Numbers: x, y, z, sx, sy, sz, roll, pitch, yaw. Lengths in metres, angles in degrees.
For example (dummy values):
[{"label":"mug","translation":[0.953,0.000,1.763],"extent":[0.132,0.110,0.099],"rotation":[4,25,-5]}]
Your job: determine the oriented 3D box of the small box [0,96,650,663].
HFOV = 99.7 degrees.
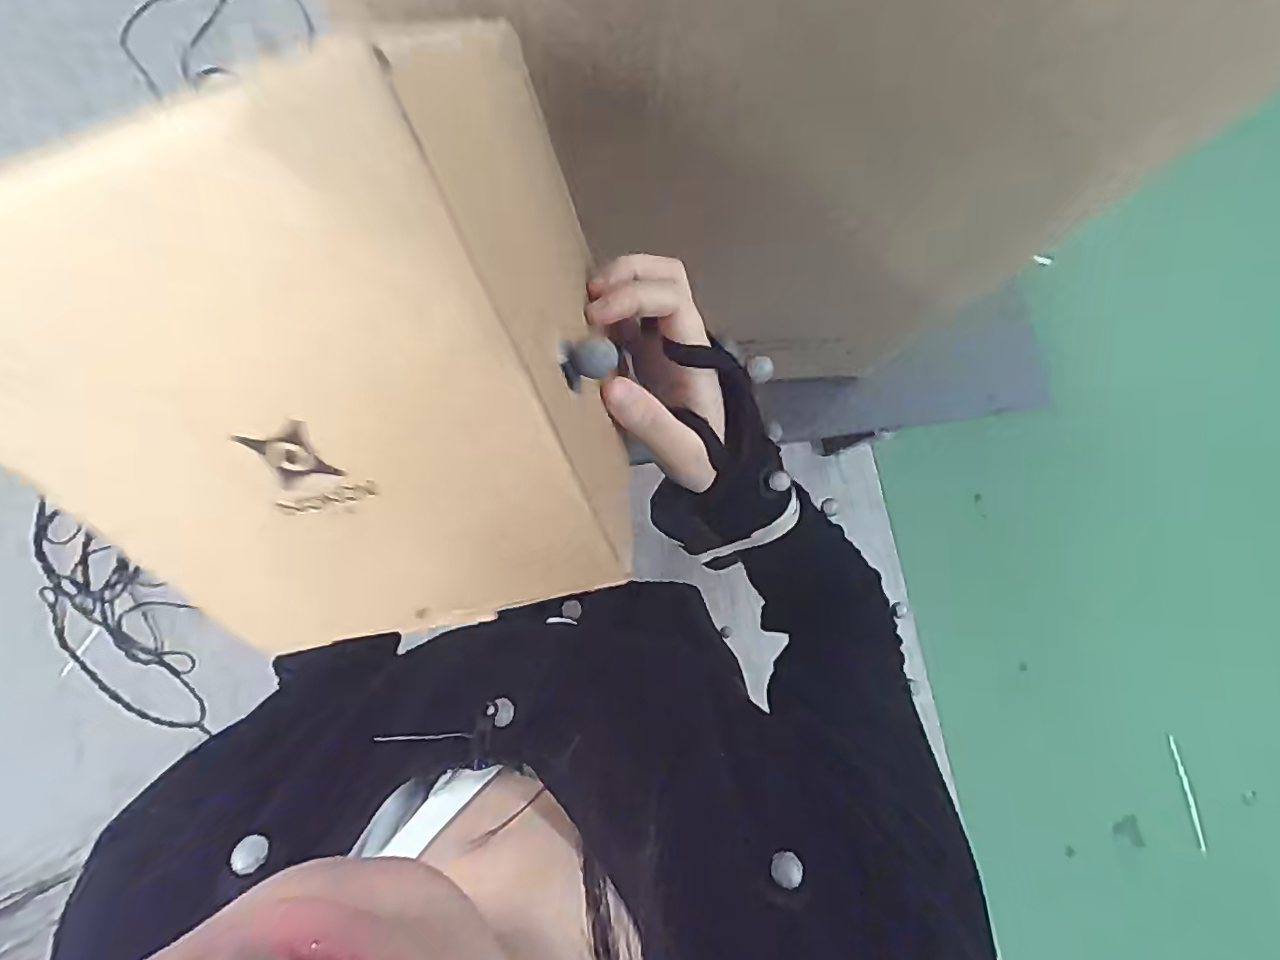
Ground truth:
[{"label":"small box","translation":[-0.100,-0.048,0.246],"extent":[0.168,0.179,0.176],"rotation":[-14,42,8]}]
